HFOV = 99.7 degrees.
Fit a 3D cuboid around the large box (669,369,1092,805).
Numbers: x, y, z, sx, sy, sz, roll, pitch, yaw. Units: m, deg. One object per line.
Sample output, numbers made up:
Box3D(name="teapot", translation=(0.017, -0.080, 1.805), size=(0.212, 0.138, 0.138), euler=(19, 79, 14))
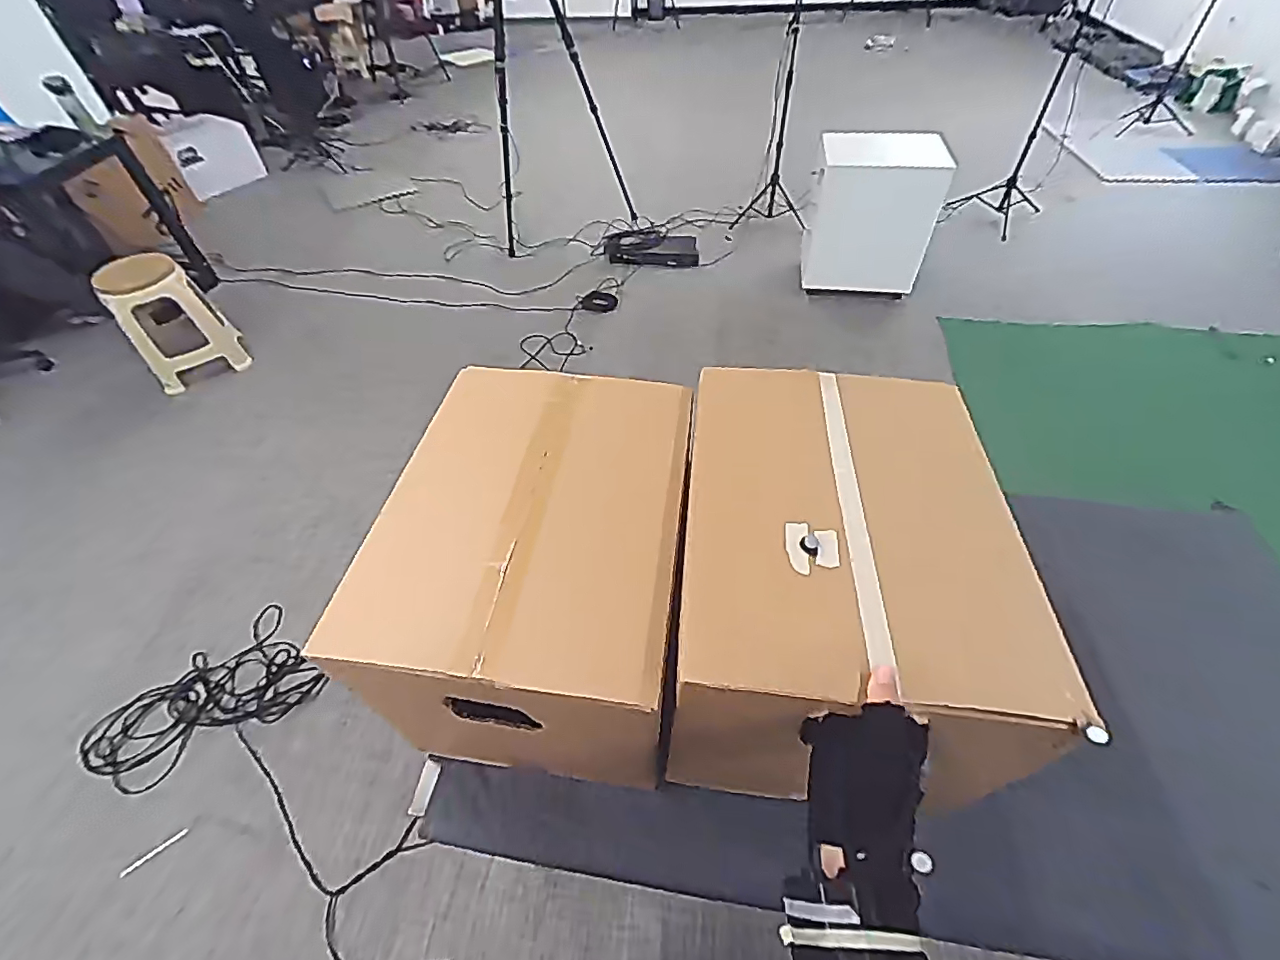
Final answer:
Box3D(name="large box", translation=(0.204, 0.119, 0.651), size=(0.320, 0.320, 0.408), euler=(4, 49, 5))
